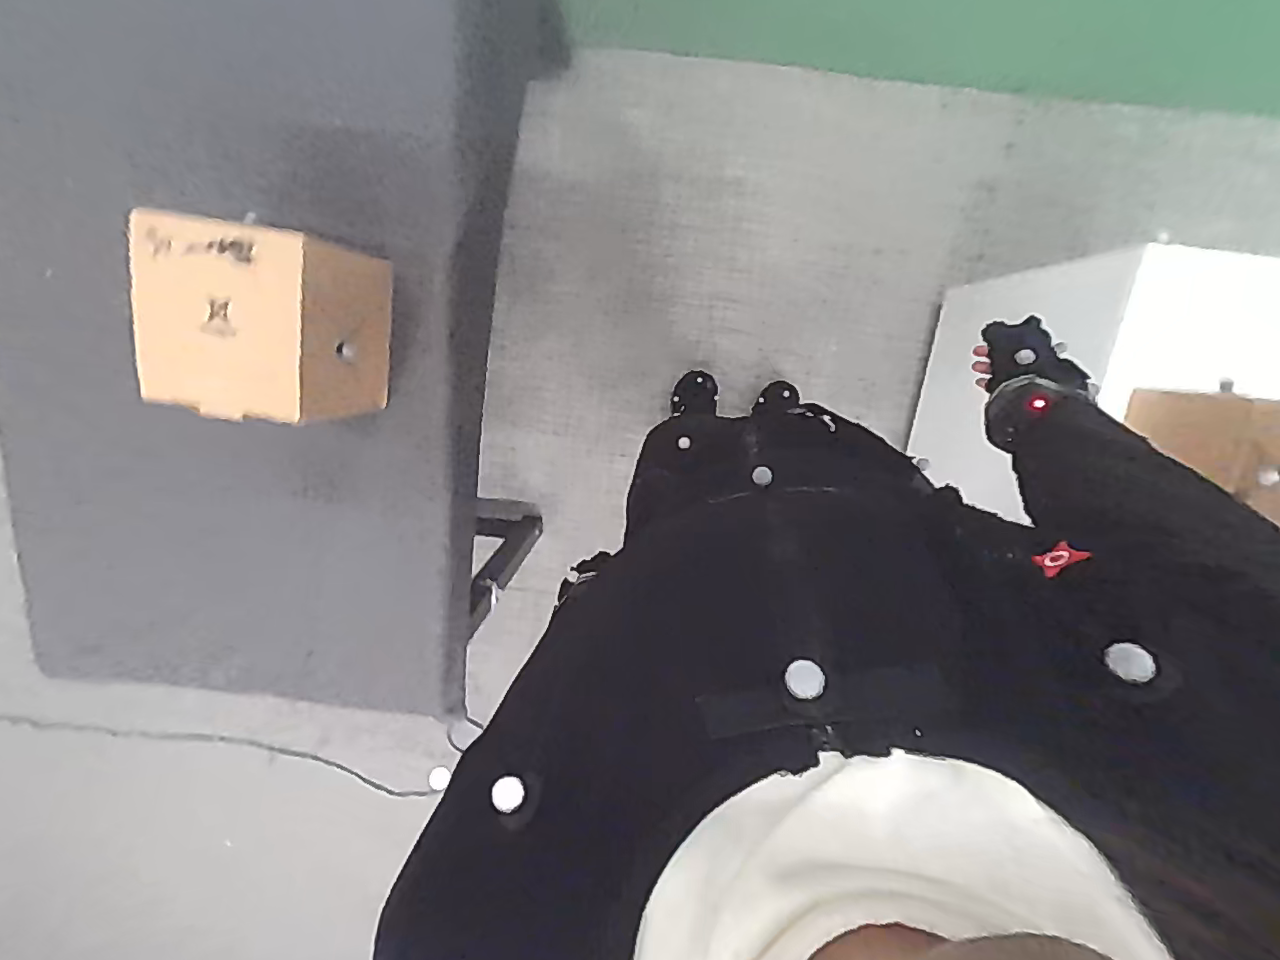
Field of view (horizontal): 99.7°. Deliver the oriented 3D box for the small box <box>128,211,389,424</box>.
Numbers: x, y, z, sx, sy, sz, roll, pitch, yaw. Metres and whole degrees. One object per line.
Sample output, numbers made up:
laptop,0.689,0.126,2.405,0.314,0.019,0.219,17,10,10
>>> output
small box,-0.397,-0.171,0.592,0.168,0.176,0.179,9,104,2
